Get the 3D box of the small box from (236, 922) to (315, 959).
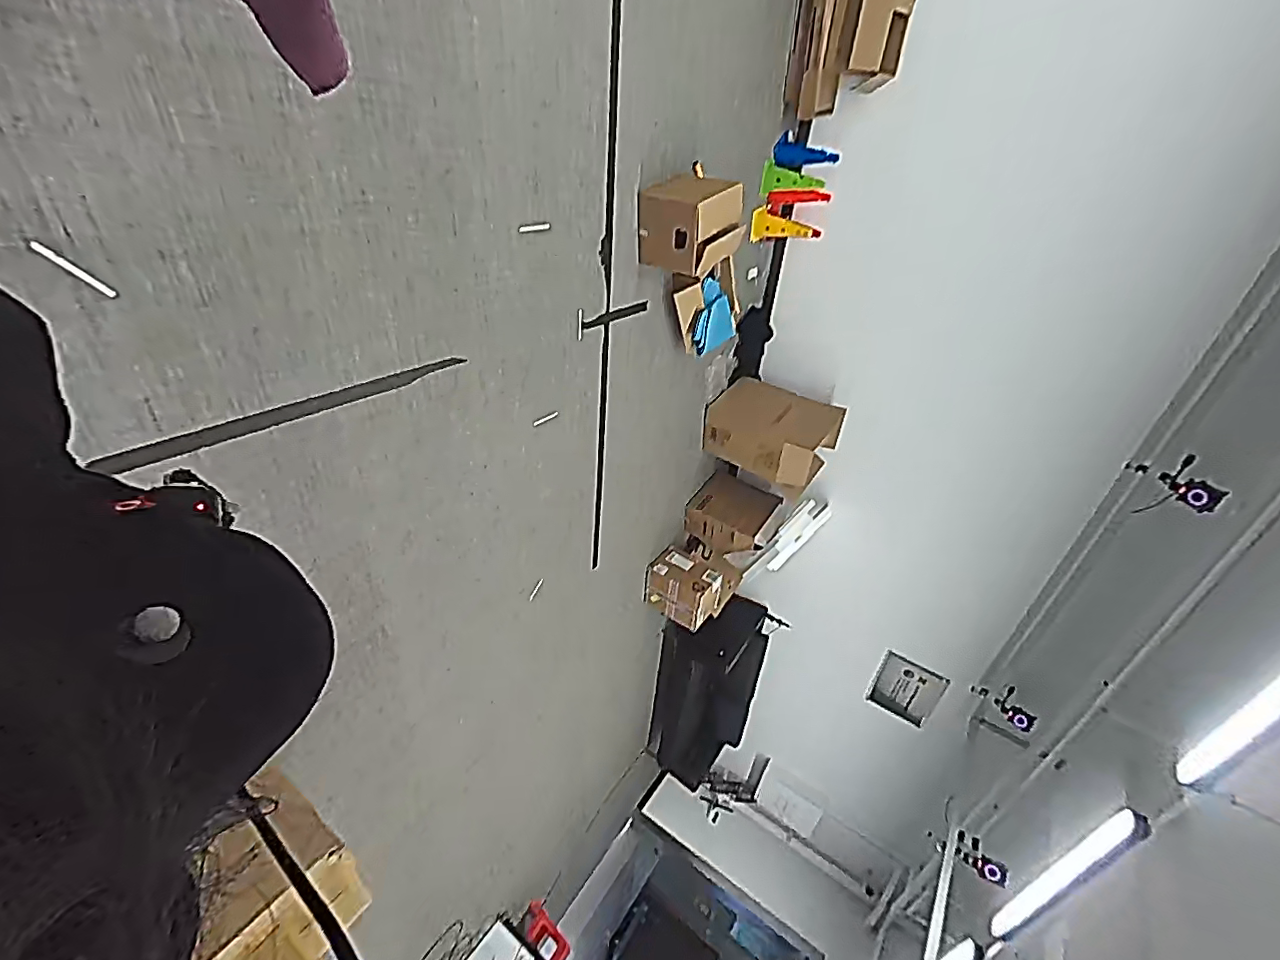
[{"bbox_3d":[-0.894,1.229,1.302,0.179,0.176,0.168,-42,145,-38],"label":"small box"}]
